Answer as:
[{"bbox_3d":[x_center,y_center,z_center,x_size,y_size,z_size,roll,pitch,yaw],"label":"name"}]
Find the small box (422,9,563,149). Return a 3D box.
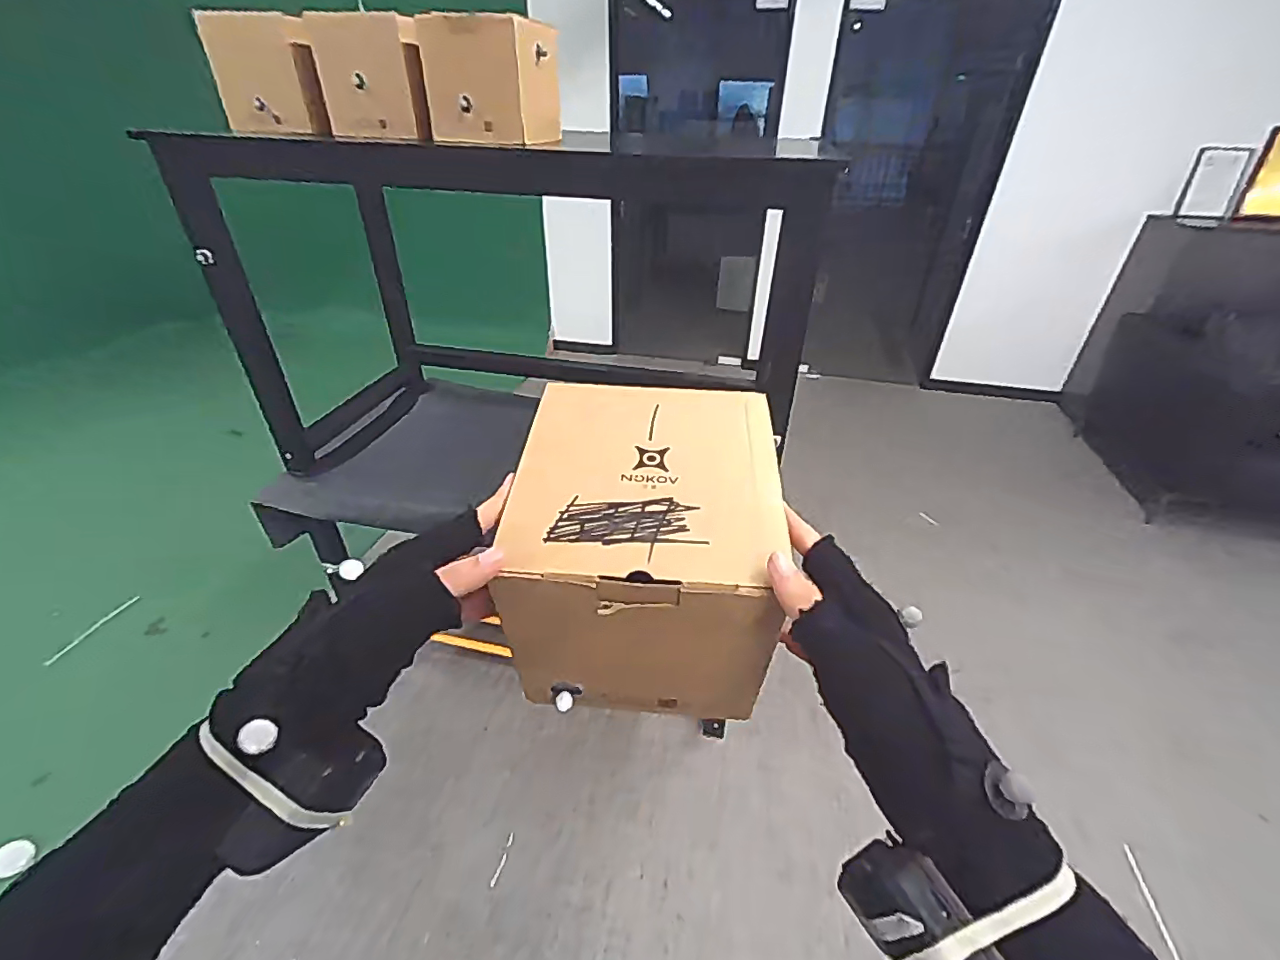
[{"bbox_3d":[-0.234,-0.664,0.905,0.168,0.176,0.179,9,36,10],"label":"small box"}]
